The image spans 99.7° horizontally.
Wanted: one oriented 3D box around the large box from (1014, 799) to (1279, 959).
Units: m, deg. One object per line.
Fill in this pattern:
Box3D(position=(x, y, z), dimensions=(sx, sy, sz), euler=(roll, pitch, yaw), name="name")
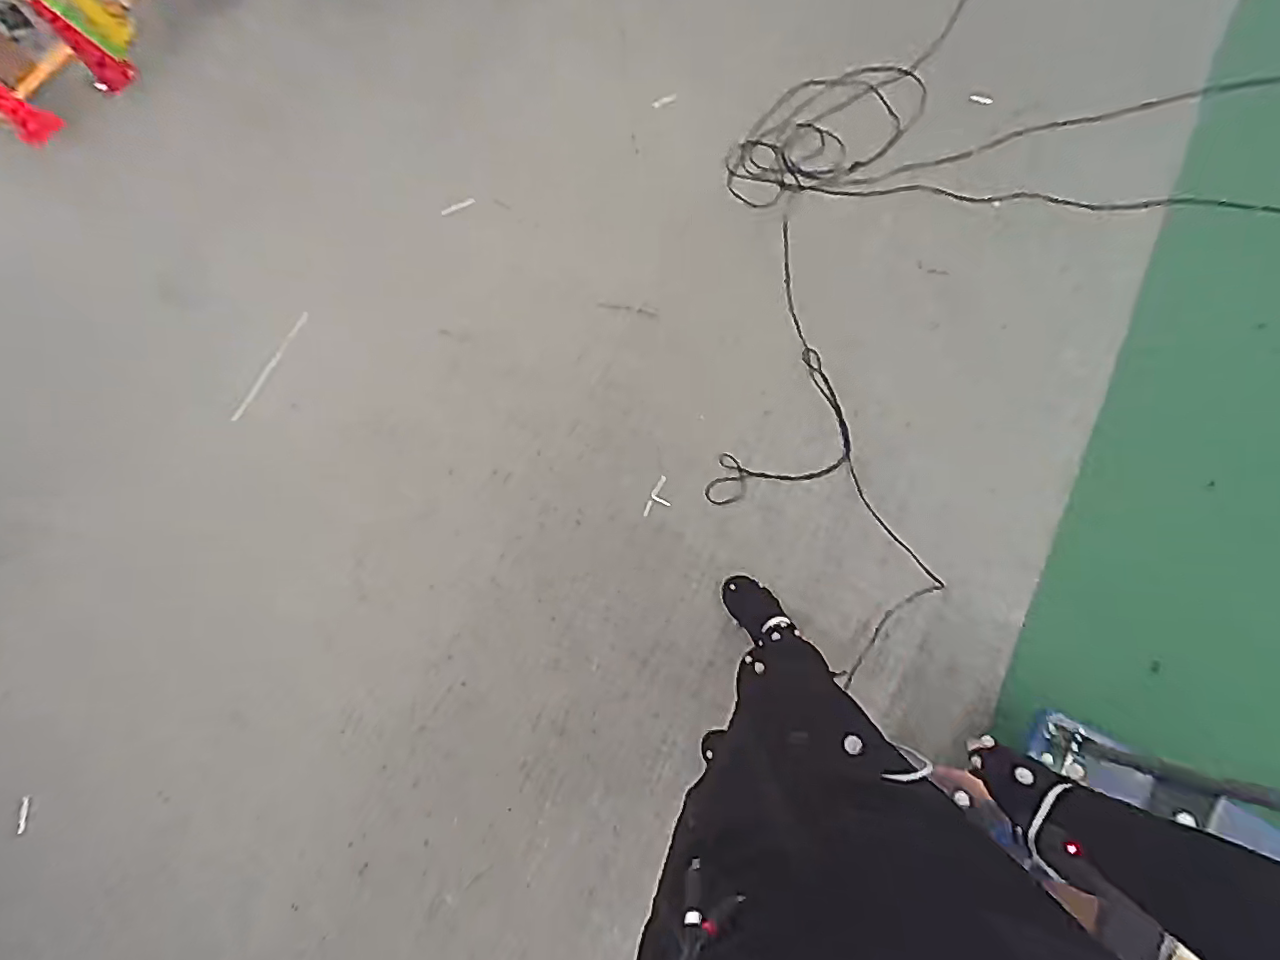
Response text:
Box3D(position=(0.926, 0.802, 0.864), dimensions=(0.408, 0.320, 0.320), euler=(29, 79, 16), name="large box")
